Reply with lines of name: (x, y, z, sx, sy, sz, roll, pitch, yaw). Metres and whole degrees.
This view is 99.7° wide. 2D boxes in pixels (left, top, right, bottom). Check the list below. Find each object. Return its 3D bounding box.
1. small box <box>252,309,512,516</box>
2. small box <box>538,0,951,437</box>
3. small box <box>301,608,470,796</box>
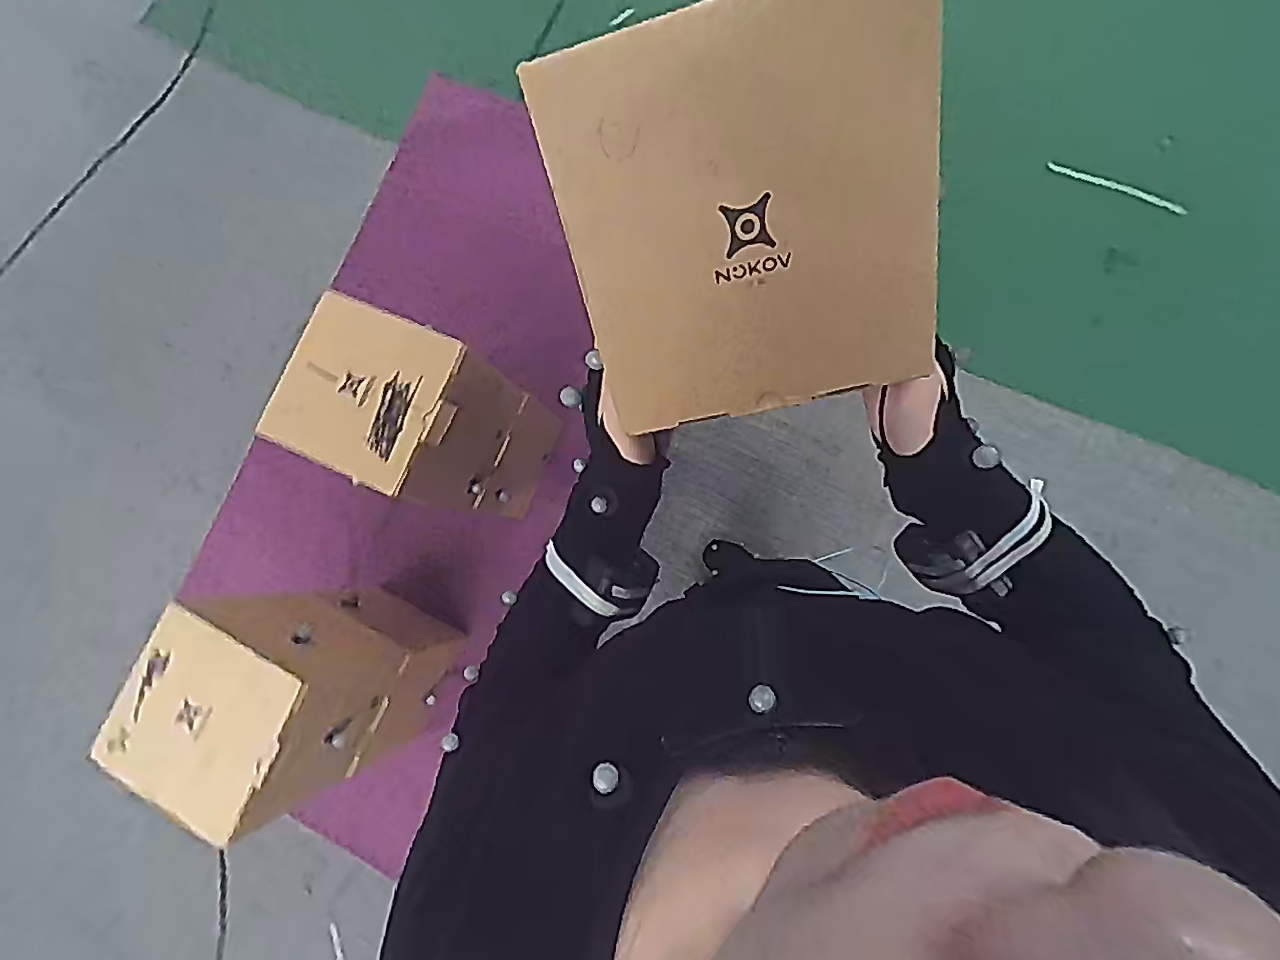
small box: (-0.273, -0.063, 0.616, 0.179, 0.176, 0.168, 20, 85, 12)
small box: (0.059, -0.151, 0.318, 0.168, 0.176, 0.179, -11, 120, 11)
small box: (-0.371, 0.286, 0.744, 0.179, 0.176, 0.168, 22, 85, 11)
